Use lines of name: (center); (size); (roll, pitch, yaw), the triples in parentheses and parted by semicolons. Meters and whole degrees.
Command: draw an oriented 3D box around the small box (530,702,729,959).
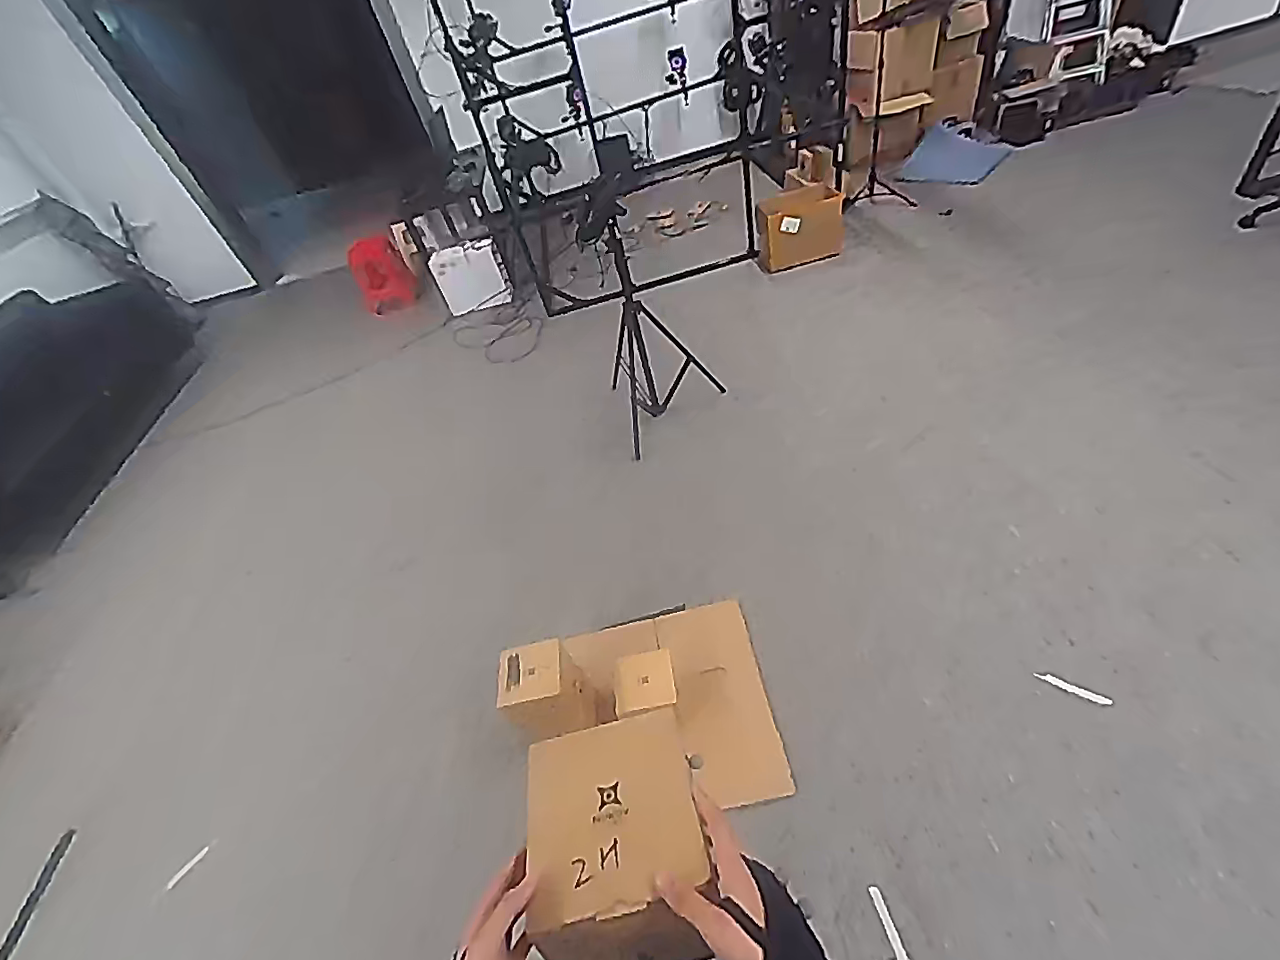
small box: (-0.011, 0.376, 0.574); (0.168, 0.176, 0.179); (-14, 33, -1)

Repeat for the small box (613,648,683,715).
small box: (0.026, 0.626, 1.601); (0.179, 0.176, 0.168); (-13, 44, 5)

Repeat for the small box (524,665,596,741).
small box: (-0.233, 0.683, 1.622); (0.179, 0.176, 0.168); (-15, 43, 4)
